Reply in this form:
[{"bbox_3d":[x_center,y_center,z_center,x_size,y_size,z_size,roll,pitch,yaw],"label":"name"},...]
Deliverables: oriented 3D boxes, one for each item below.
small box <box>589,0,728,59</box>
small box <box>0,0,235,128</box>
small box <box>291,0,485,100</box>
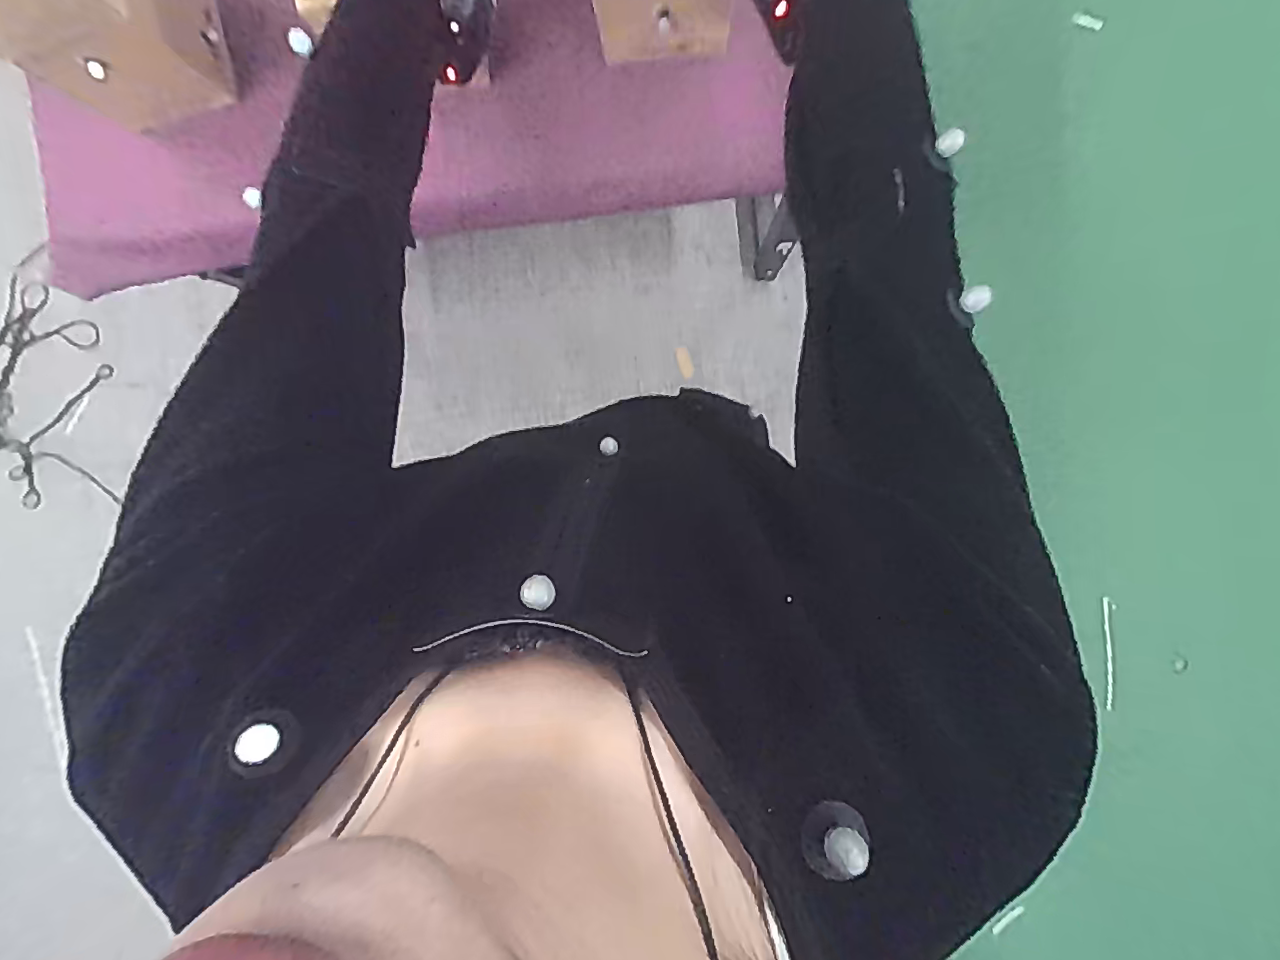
[{"bbox_3d":[0.021,-0.639,0.639,0.168,0.176,0.179,-2,95,5],"label":"small box"},{"bbox_3d":[-0.679,-0.591,0.695,0.179,0.176,0.168,-10,95,4],"label":"small box"},{"bbox_3d":[-0.303,-0.615,0.665,0.168,0.176,0.179,-4,95,5],"label":"small box"}]
